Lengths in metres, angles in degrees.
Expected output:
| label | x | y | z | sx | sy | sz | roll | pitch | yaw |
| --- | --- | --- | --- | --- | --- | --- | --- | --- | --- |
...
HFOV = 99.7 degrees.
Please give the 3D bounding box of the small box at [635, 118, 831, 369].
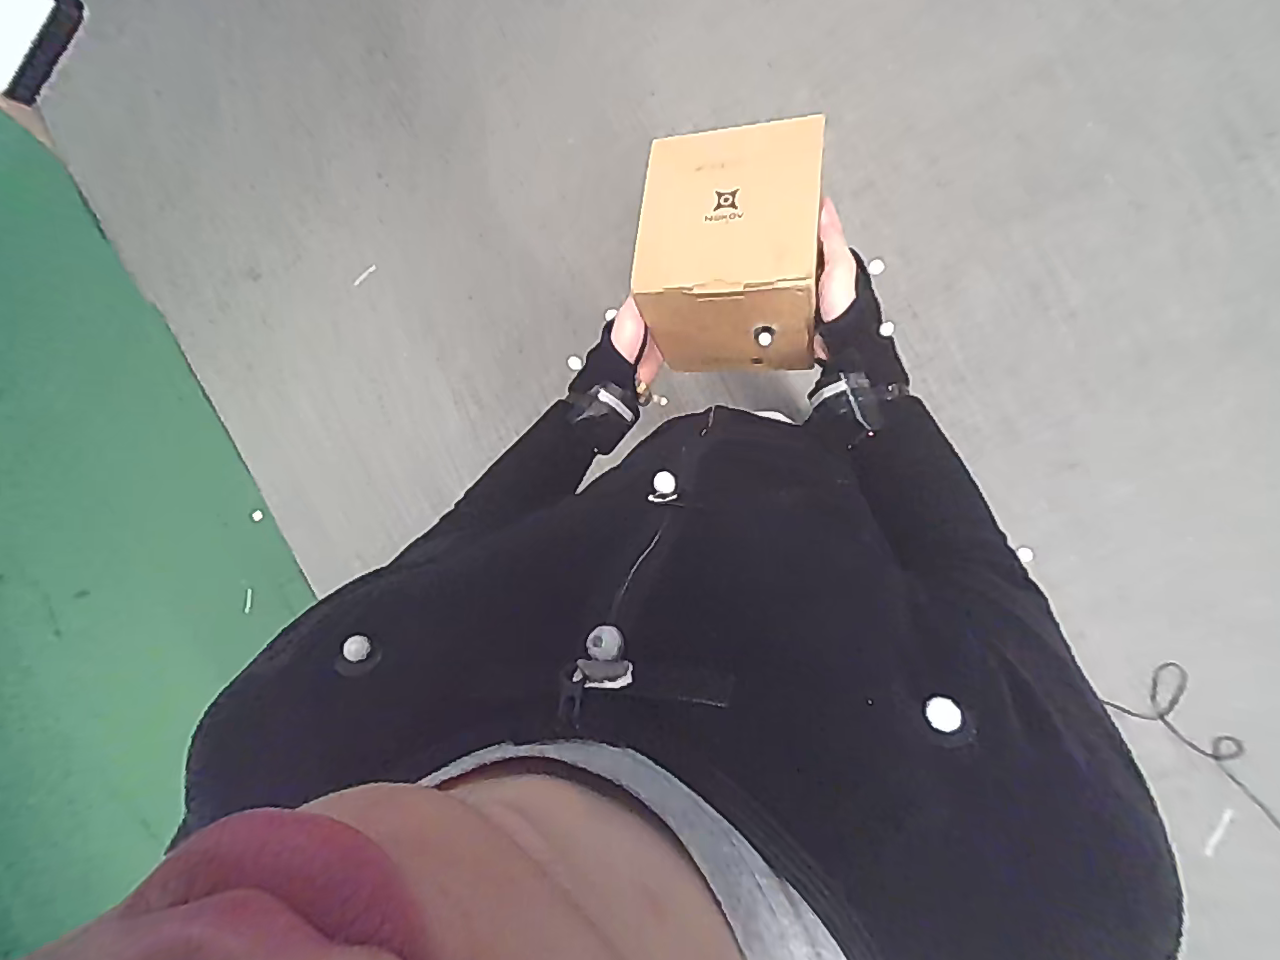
| label | x | y | z | sx | sy | sz | roll | pitch | yaw |
| --- | --- | --- | --- | --- | --- | --- | --- | --- | --- |
| small box | 0.106 | -0.230 | 0.568 | 0.168 | 0.176 | 0.179 | 4 | 74 | 17 |
